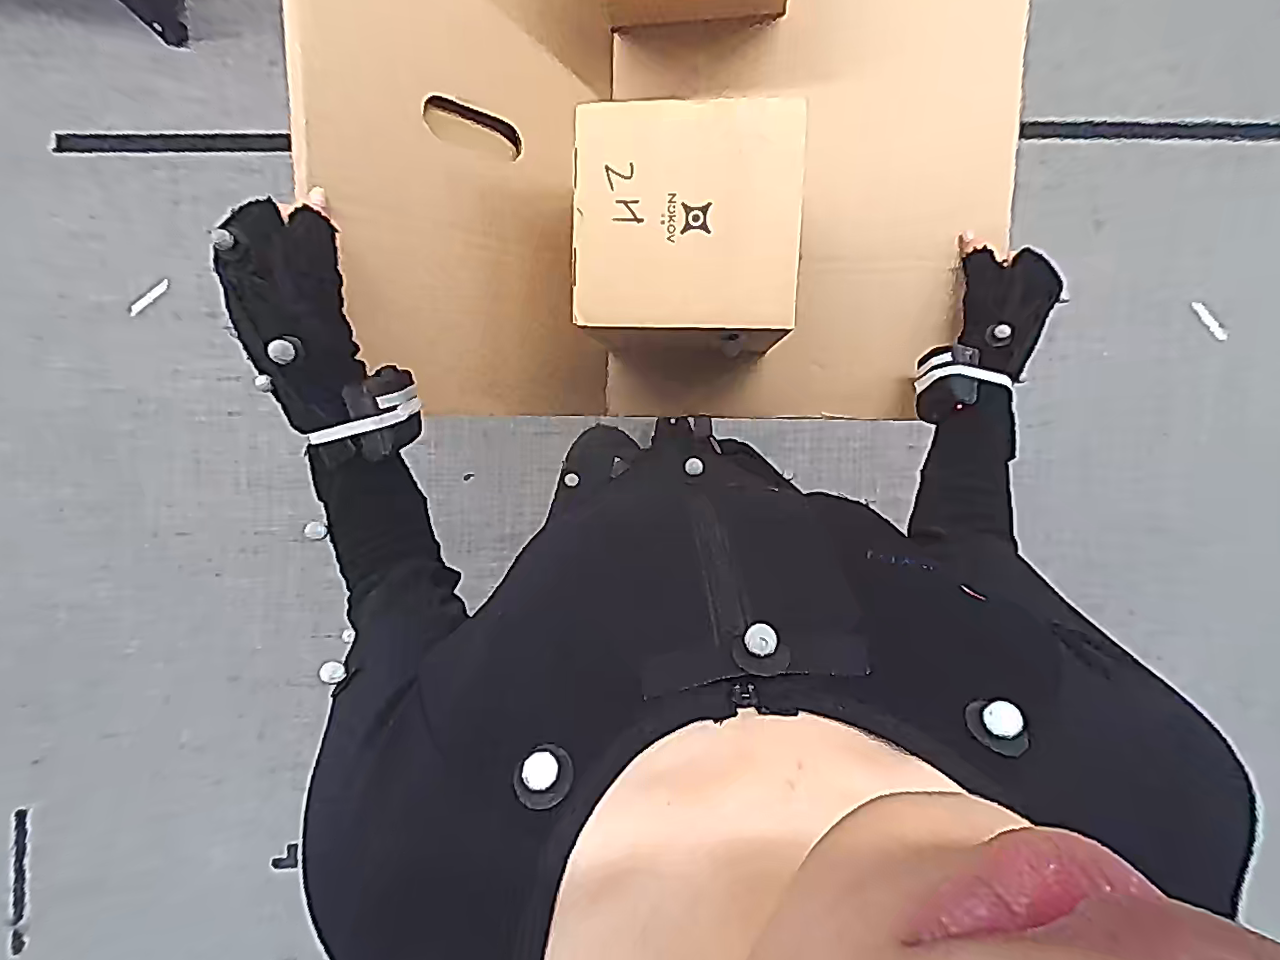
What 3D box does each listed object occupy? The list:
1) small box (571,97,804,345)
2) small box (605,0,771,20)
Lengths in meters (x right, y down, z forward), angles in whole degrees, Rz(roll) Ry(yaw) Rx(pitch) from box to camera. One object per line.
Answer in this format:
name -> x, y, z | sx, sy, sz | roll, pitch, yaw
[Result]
small box -> 0.042, -0.219, 0.500 | 0.179, 0.176, 0.168 | 3, 97, 7
small box -> 0.043, -0.538, 0.459 | 0.179, 0.176, 0.168 | 0, 97, 6
